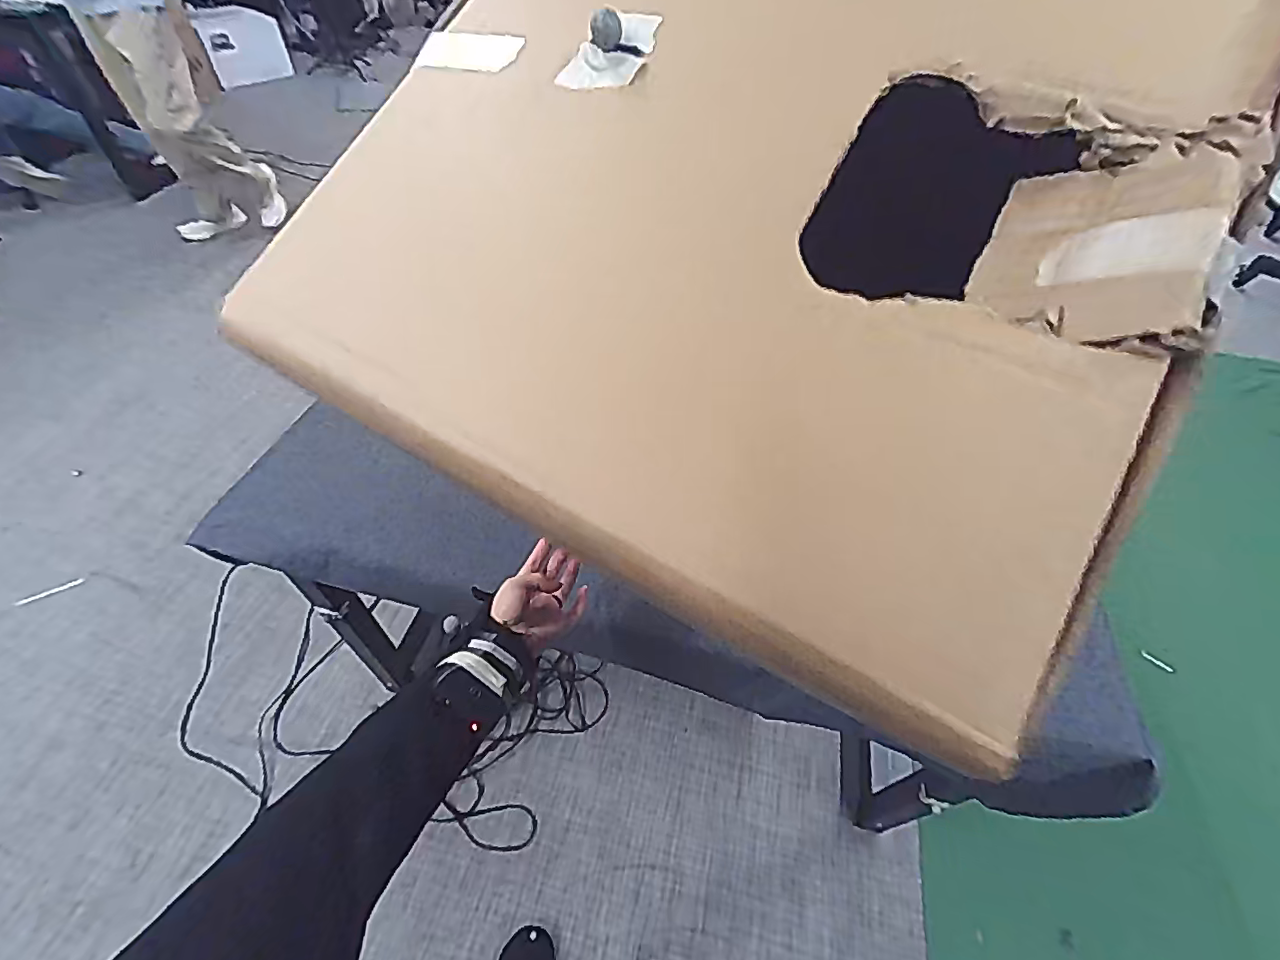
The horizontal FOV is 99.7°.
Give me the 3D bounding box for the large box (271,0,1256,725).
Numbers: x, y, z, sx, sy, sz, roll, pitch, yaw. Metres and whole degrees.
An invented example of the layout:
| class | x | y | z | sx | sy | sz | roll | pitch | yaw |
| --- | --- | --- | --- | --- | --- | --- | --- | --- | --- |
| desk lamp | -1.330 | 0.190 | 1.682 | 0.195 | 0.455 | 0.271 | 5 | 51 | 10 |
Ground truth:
| class | x | y | z | sx | sy | sz | roll | pitch | yaw |
| --- | --- | --- | --- | --- | --- | --- | --- | --- | --- |
| large box | 0.066 | -0.071 | 0.400 | 0.320 | 0.408 | 0.320 | 27 | 79 | 16 |
